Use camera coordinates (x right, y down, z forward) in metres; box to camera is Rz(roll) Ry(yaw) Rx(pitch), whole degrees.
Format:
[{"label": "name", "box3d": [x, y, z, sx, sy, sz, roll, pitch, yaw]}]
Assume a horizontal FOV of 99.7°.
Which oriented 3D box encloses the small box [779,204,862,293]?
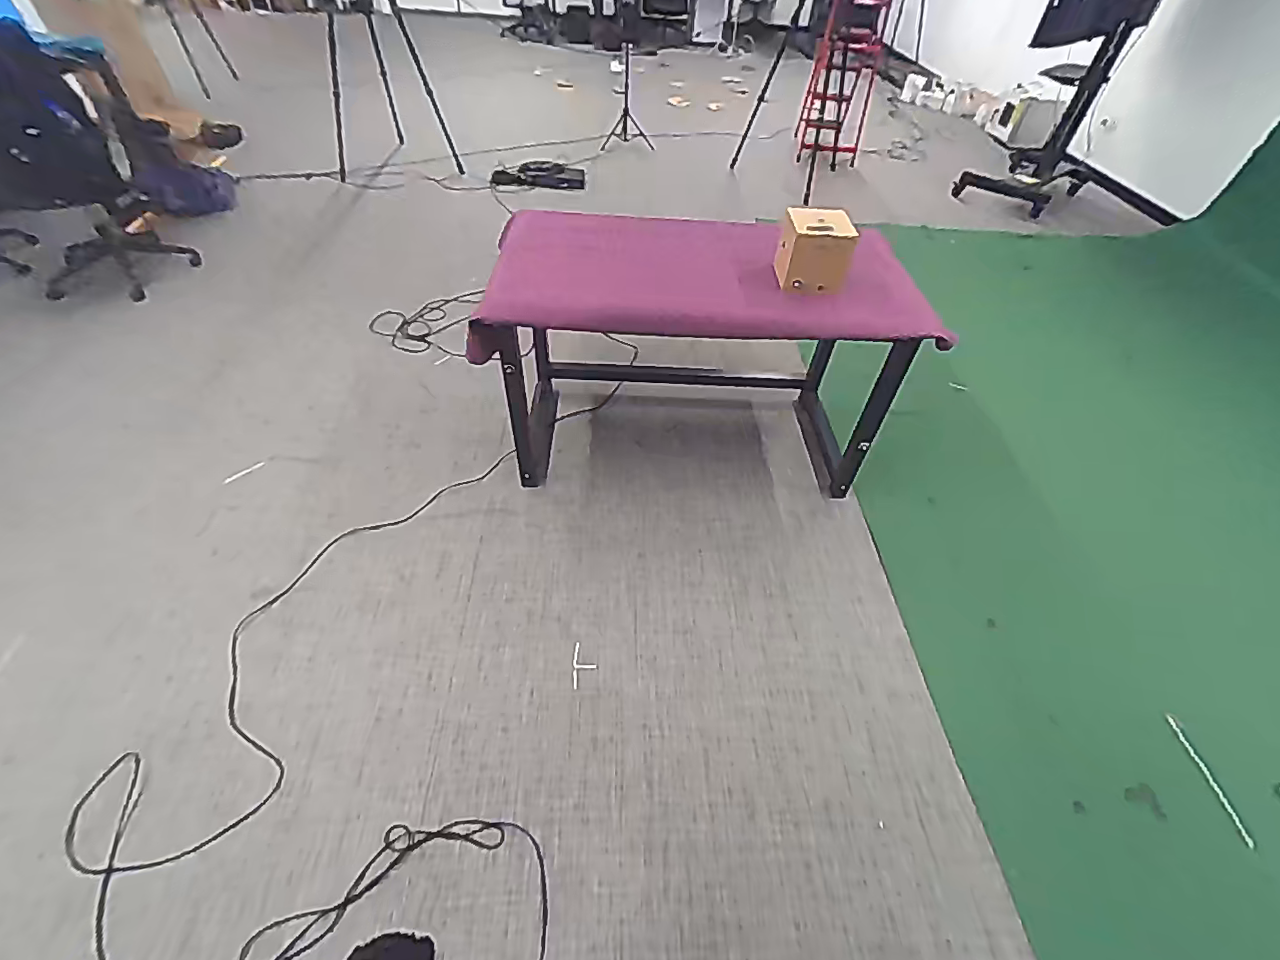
[{"label": "small box", "box3d": [0.495, -0.641, 1.506, 0.168, 0.176, 0.179, 6, 48, -1]}]
